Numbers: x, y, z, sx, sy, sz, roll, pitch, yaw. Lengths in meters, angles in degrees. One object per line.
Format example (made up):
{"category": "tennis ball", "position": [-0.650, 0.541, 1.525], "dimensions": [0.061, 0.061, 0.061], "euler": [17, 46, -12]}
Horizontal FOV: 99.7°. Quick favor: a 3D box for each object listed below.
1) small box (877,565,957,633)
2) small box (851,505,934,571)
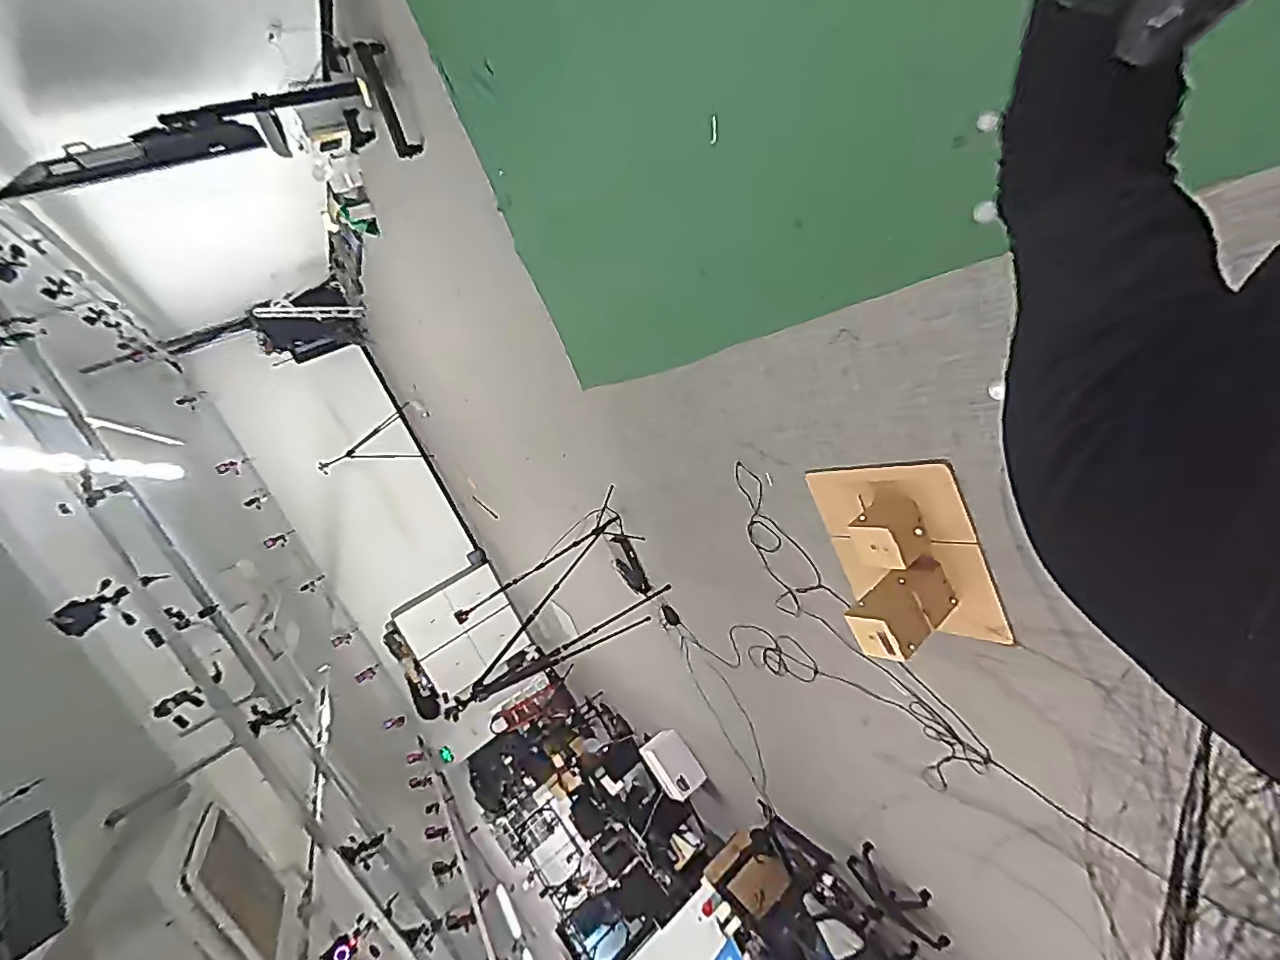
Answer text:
{"category": "small box", "position": [0.993, 0.417, 1.923], "dimensions": [0.168, 0.176, 0.179], "euler": [62, 154, -7]}
{"category": "small box", "position": [0.882, 0.196, 1.888], "dimensions": [0.179, 0.176, 0.168], "euler": [-6, 114, 62]}
